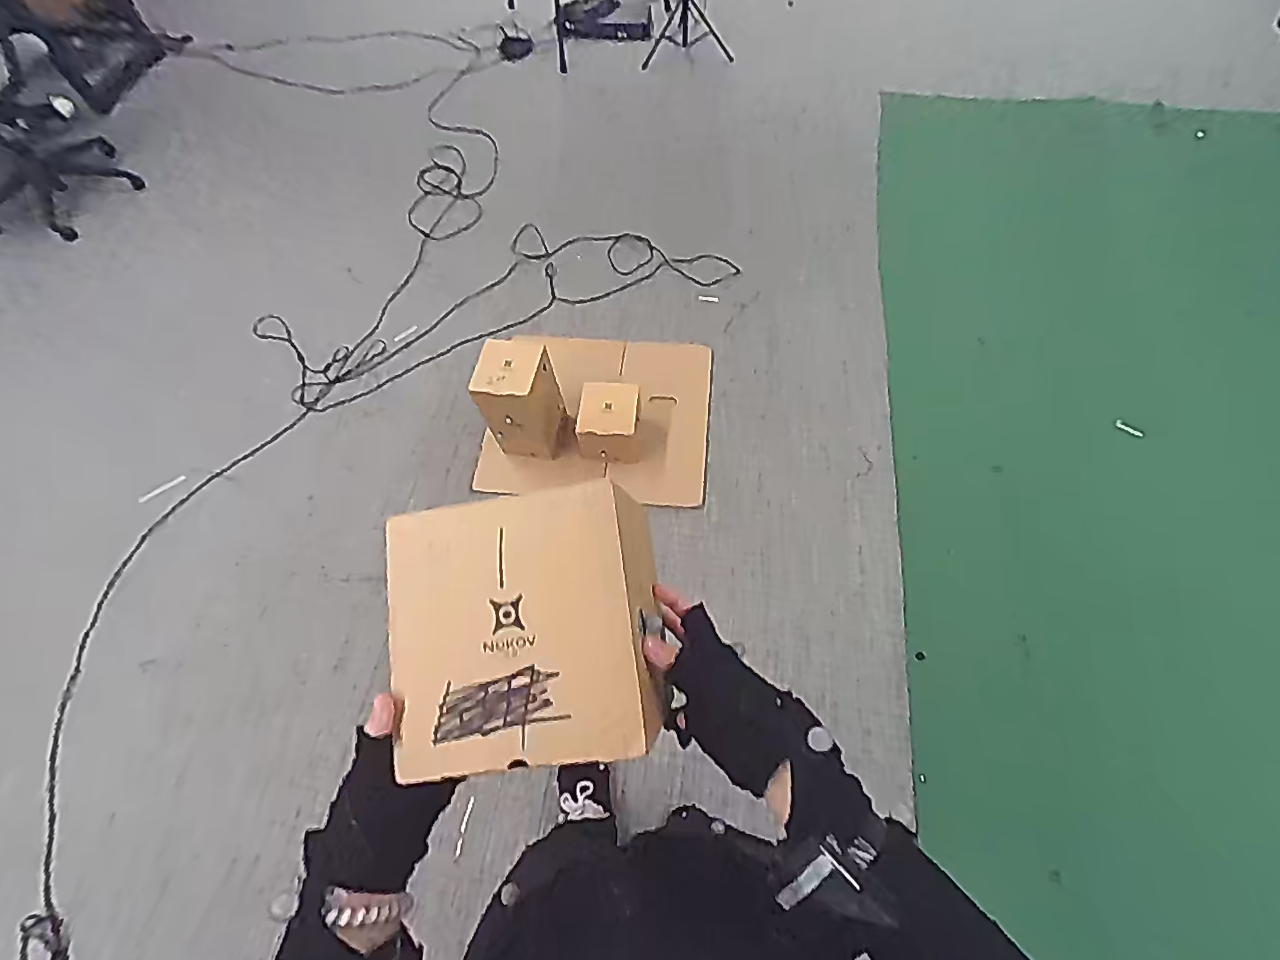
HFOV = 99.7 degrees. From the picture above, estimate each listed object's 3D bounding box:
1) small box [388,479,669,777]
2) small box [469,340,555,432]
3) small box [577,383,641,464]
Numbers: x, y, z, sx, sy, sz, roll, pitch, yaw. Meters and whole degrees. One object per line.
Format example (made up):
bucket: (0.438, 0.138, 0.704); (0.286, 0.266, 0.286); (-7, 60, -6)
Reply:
small box: (-0.074, 0.109, 0.431); (0.168, 0.176, 0.179); (-10, 77, 7)
small box: (-0.341, -0.255, 1.479); (0.168, 0.176, 0.179); (7, 64, 8)
small box: (-0.087, -0.167, 1.608); (0.168, 0.176, 0.179); (3, 64, 4)
